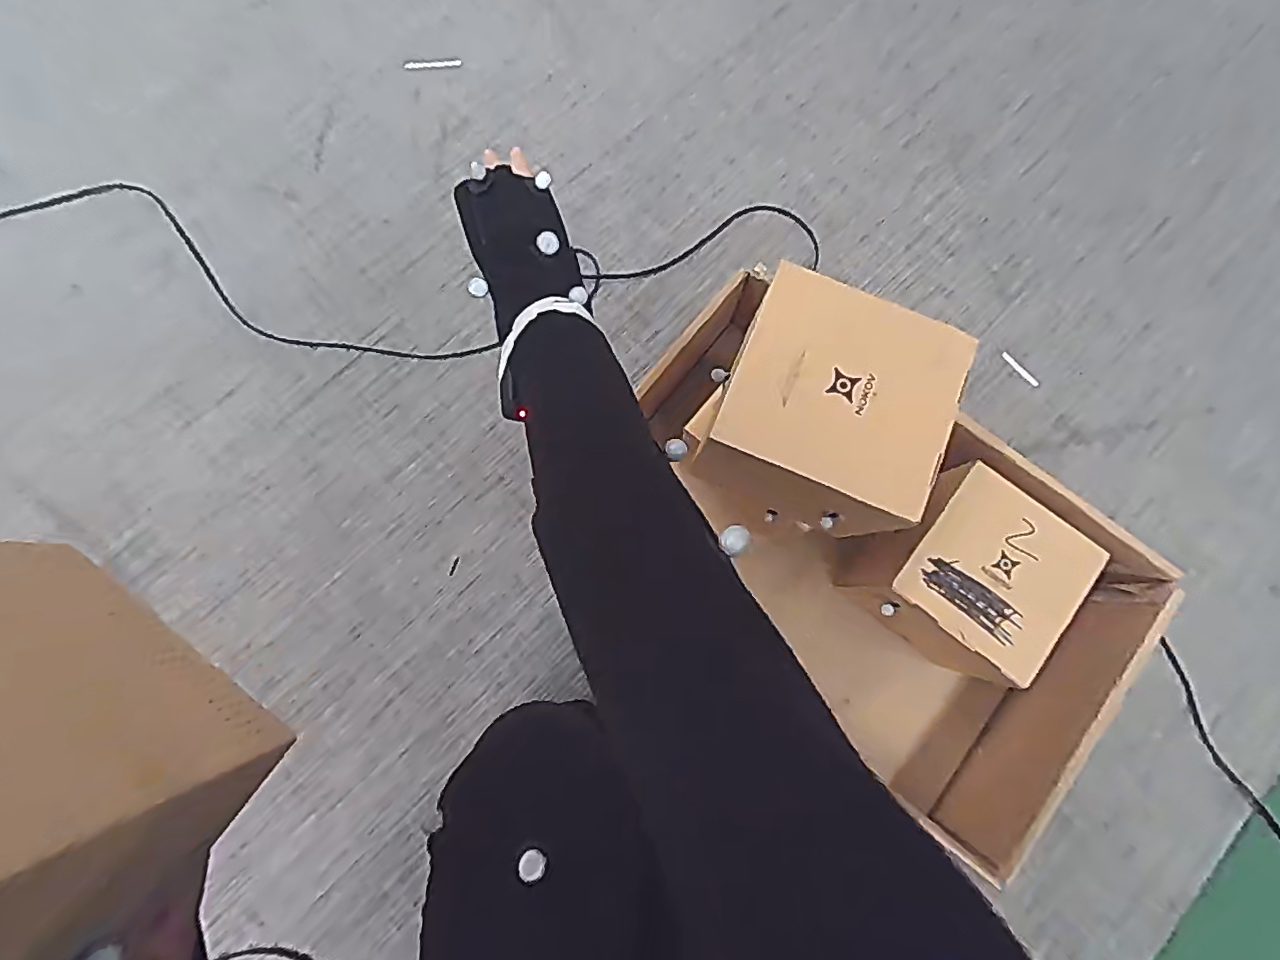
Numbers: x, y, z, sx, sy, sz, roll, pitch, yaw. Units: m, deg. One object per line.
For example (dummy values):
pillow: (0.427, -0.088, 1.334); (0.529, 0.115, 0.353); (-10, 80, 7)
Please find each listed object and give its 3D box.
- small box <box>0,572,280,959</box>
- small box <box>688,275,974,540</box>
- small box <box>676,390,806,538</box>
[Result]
small box: (-0.304, 0.147, 0.211); (0.179, 0.176, 0.168); (37, 83, 5)
small box: (0.159, -0.051, 0.507); (0.179, 0.176, 0.168); (23, 81, 3)
small box: (0.161, -0.039, 0.671); (0.179, 0.176, 0.168); (40, 82, 5)
